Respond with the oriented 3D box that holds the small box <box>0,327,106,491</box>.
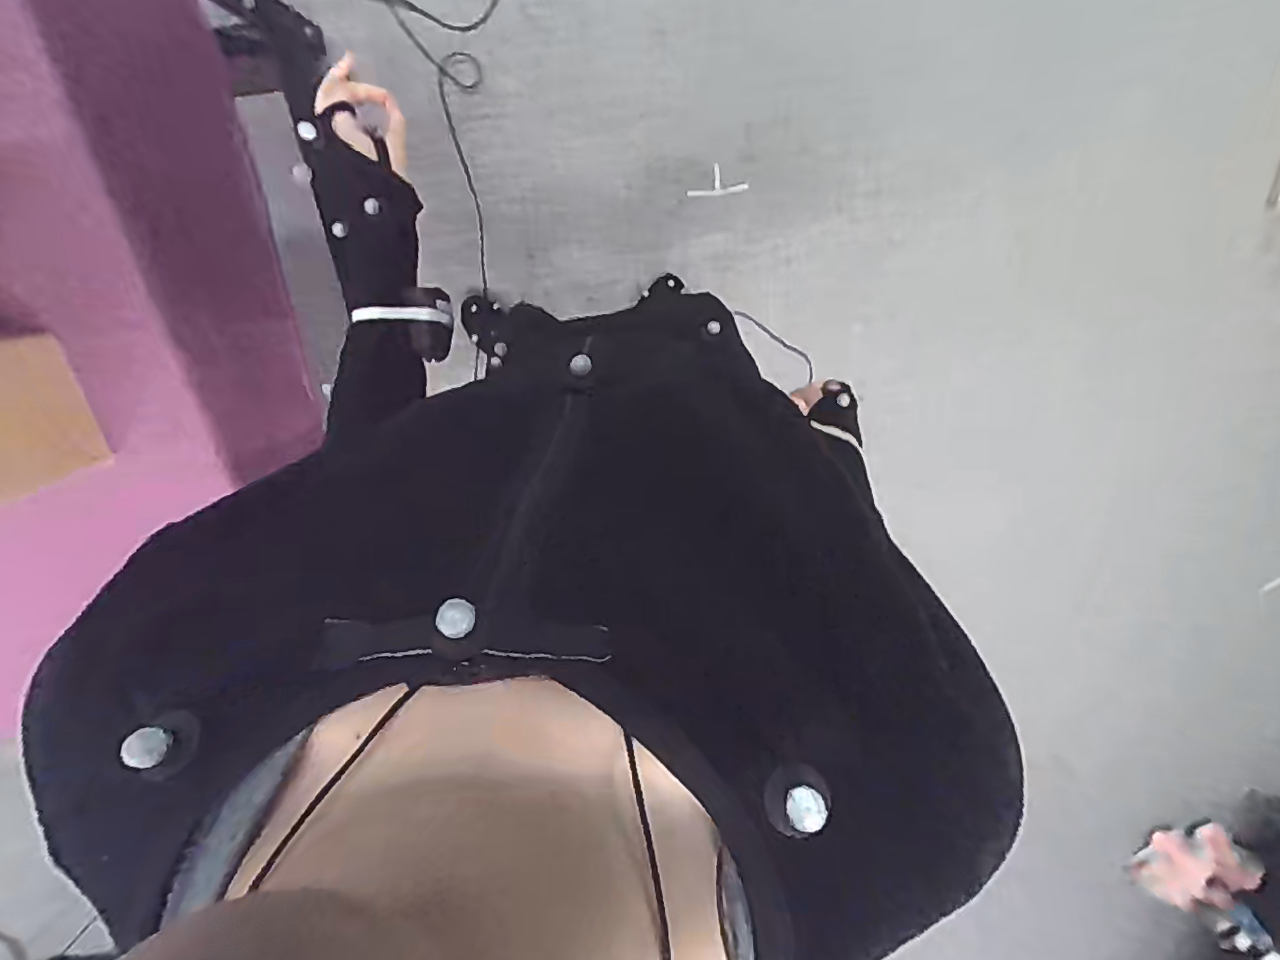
[{"bbox_3d":[-0.817,-0.079,0.647,0.168,0.176,0.179,-4,112,2],"label":"small box"}]
